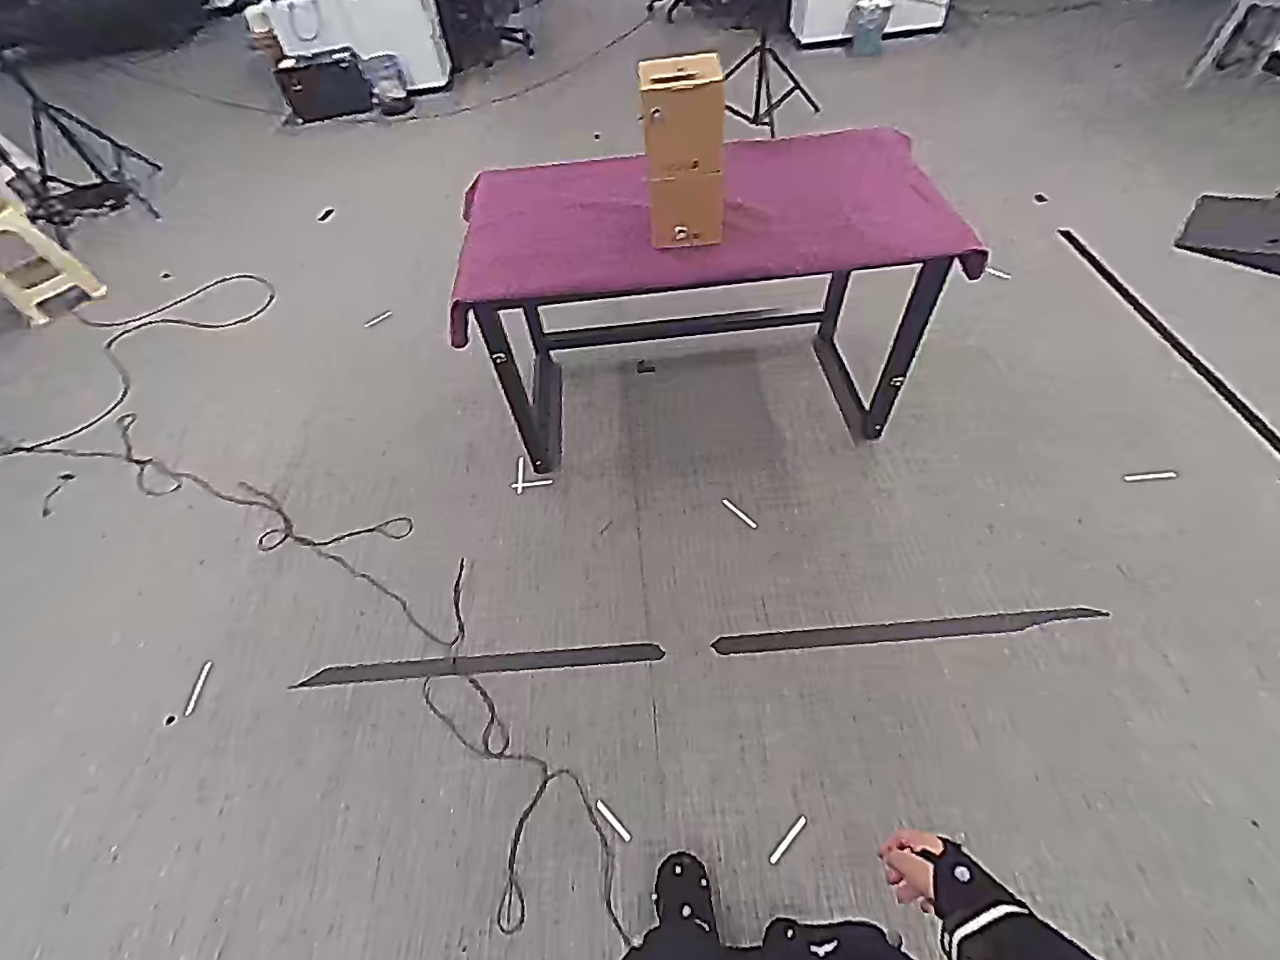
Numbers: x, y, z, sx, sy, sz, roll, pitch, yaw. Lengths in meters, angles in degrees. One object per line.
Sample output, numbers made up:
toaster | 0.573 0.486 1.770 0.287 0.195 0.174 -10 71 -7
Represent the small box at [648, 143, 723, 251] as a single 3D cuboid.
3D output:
small box | 0.106 -0.675 1.295 0.168 0.176 0.179 -4 54 3
